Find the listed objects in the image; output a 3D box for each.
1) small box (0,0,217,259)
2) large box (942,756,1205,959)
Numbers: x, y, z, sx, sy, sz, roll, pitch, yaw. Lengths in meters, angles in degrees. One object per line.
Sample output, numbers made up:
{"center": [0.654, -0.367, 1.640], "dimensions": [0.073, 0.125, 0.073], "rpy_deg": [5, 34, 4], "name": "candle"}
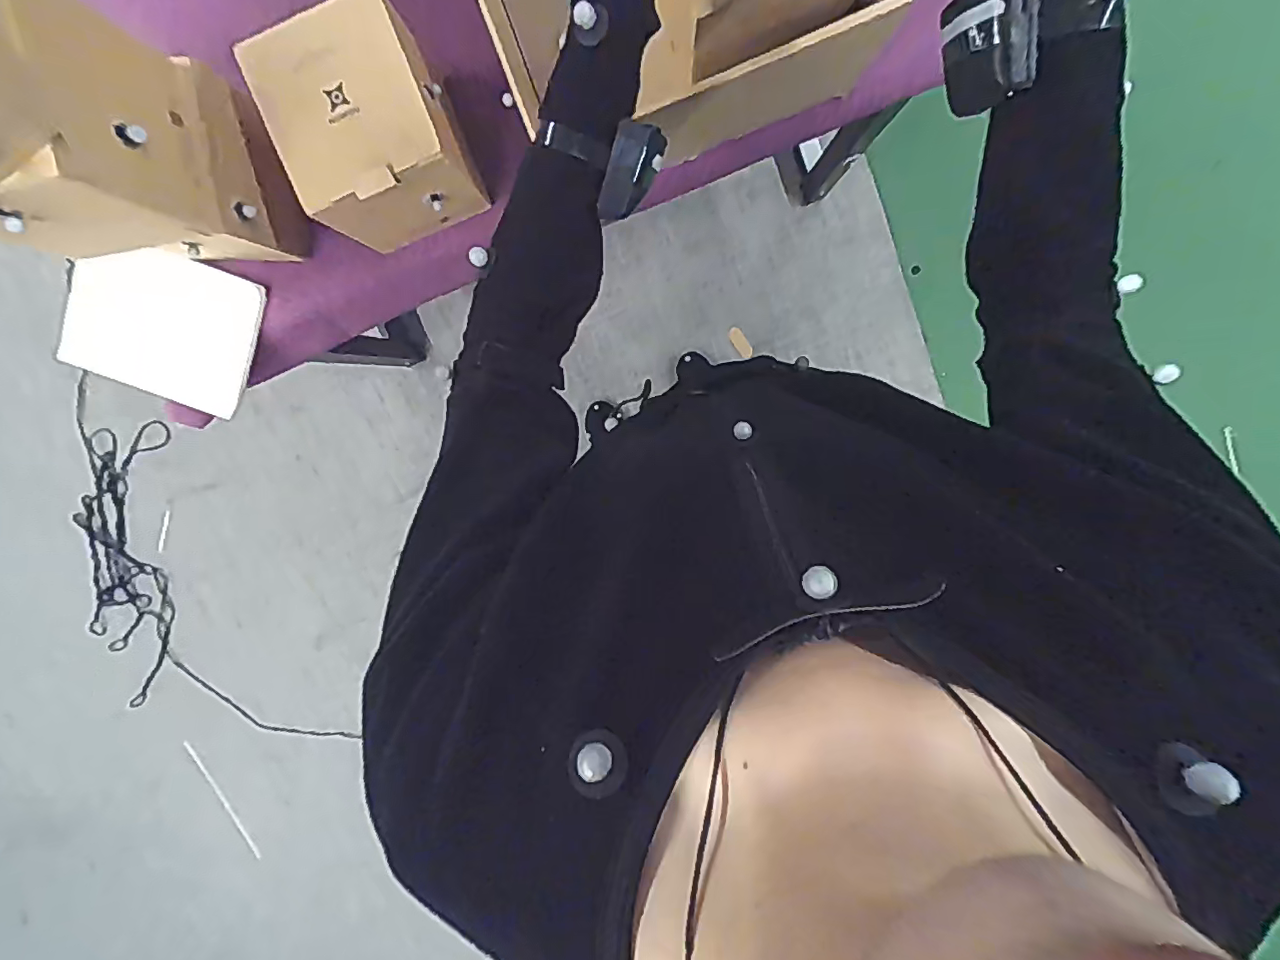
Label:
{"center": [-0.539, -0.315, 0.497], "dimensions": [0.179, 0.176, 0.168], "rpy_deg": [-7, 99, 4], "name": "small box"}
{"center": [1.150, 1.064, 1.485], "dimensions": [0.408, 0.320, 0.320], "rpy_deg": [-36, 97, 6], "name": "large box"}
